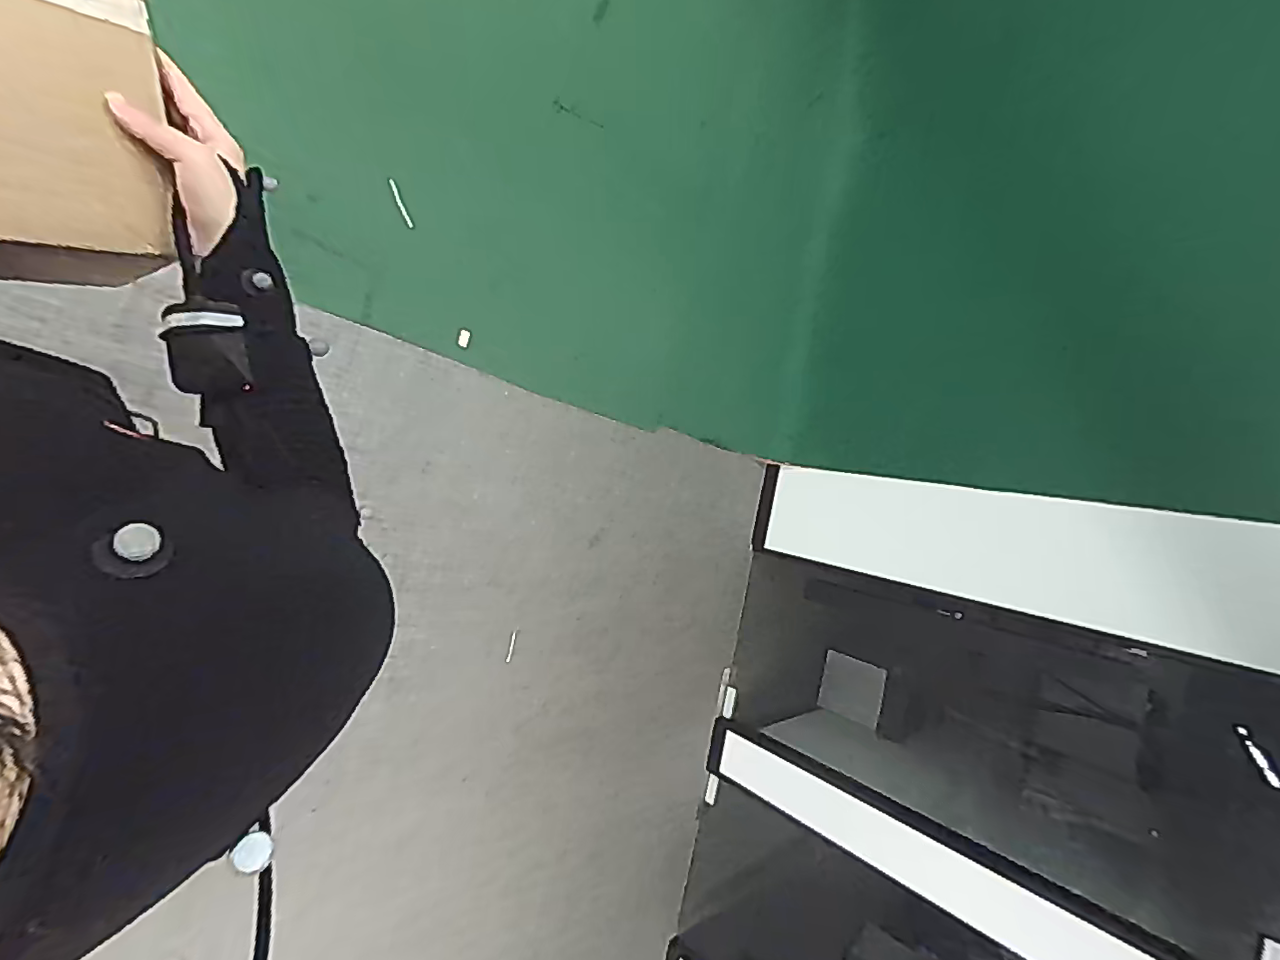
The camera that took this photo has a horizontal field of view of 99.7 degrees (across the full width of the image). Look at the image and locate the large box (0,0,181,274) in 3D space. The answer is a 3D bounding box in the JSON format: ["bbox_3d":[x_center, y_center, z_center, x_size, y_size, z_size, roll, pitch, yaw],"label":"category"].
[{"bbox_3d":[-0.594,-0.316,0.323,0.408,0.320,0.320,-16,111,-50],"label":"large box"}]
